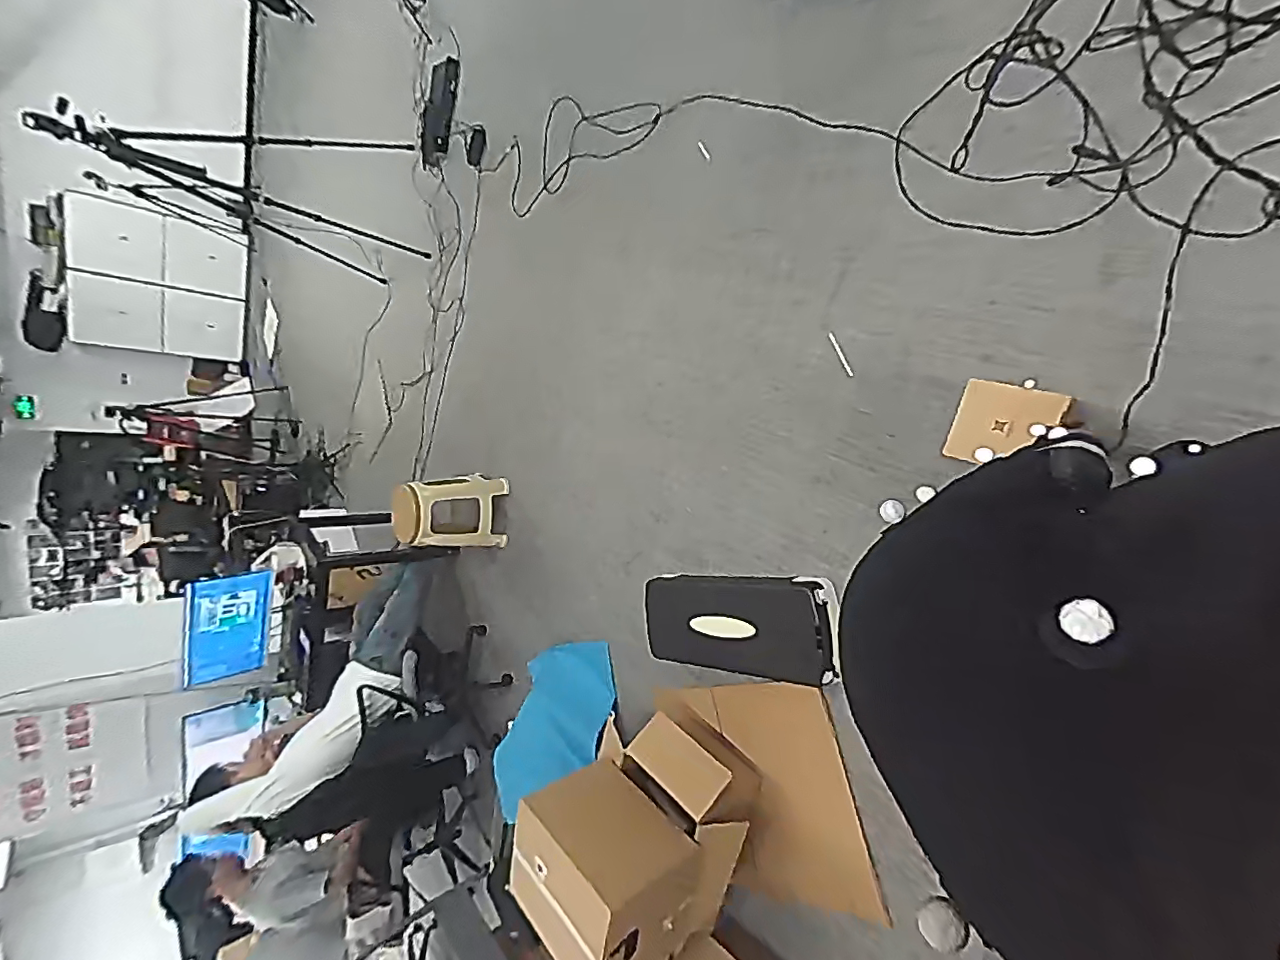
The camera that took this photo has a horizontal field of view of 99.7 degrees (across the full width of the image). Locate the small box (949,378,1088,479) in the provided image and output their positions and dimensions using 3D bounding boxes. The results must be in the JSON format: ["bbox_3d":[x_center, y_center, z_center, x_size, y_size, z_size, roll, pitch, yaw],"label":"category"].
[{"bbox_3d":[0.781,-0.103,1.116,0.179,0.176,0.168,25,108,42],"label":"small box"}]
